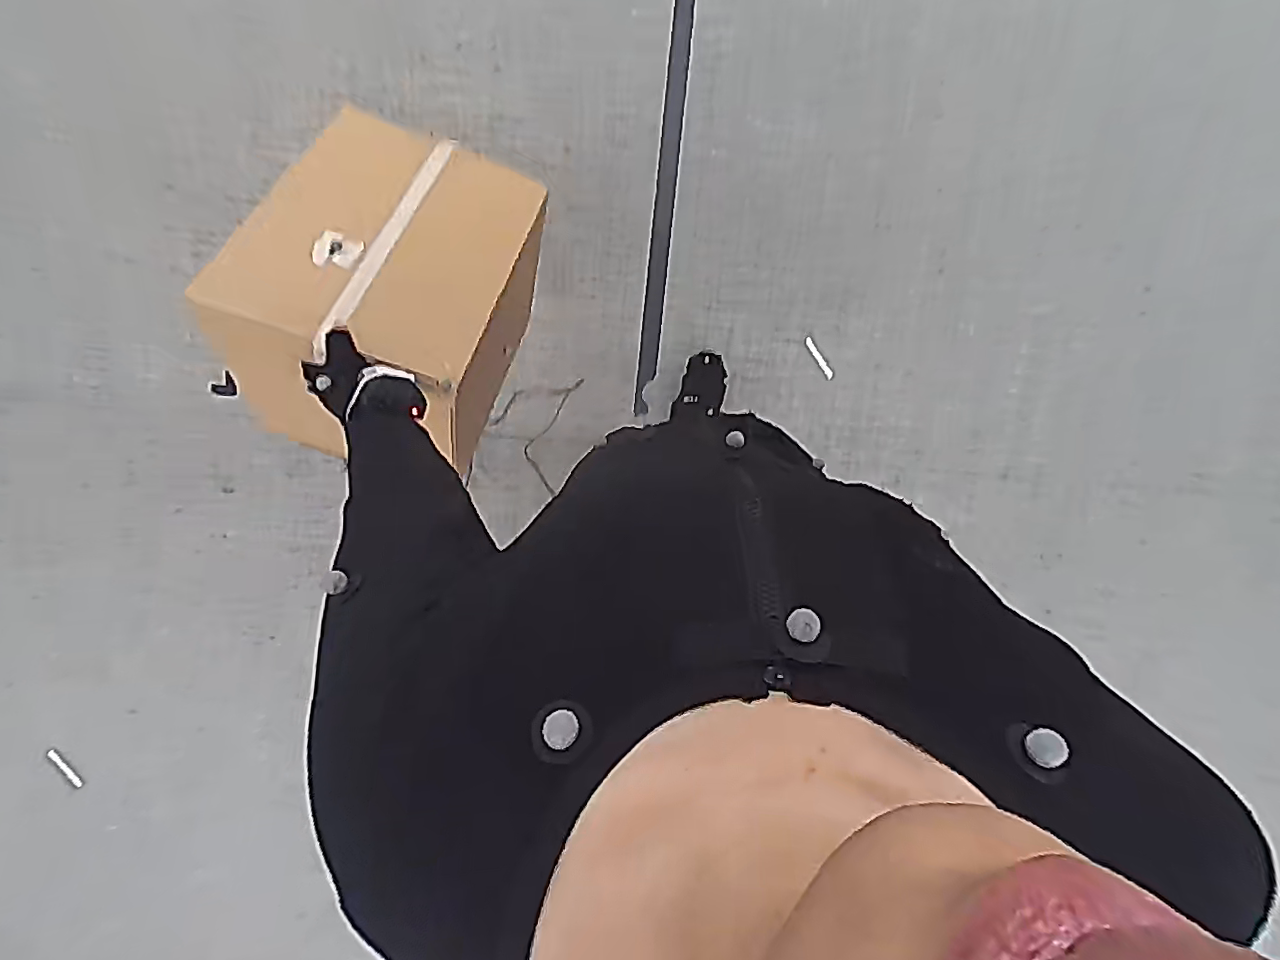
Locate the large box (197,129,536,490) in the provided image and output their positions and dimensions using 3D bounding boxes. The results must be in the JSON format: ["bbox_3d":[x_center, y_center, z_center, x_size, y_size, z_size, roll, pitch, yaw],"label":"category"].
[{"bbox_3d":[-0.380,-0.255,0.872,0.320,0.320,0.408,16,61,-8],"label":"large box"}]
